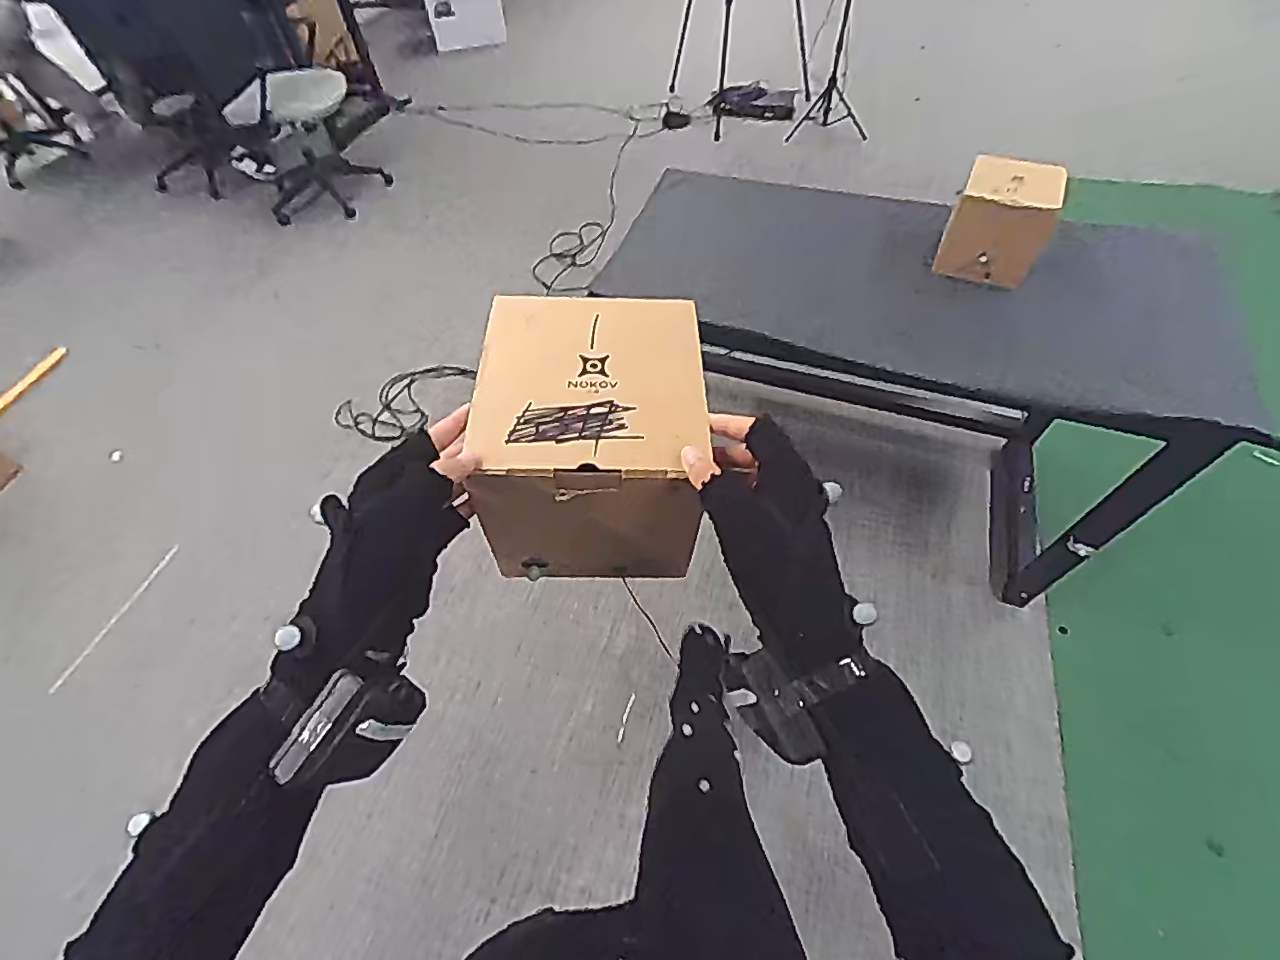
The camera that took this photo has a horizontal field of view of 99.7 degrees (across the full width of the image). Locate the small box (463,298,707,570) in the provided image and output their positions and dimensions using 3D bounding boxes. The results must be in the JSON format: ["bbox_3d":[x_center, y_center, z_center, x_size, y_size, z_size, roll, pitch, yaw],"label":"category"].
[{"bbox_3d":[-0.038,-0.032,0.466,0.168,0.176,0.179,1,55,-2],"label":"small box"}]

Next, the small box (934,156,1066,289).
[{"bbox_3d":[0.724,-0.522,1.101,0.168,0.176,0.179,21,59,18],"label":"small box"}]
